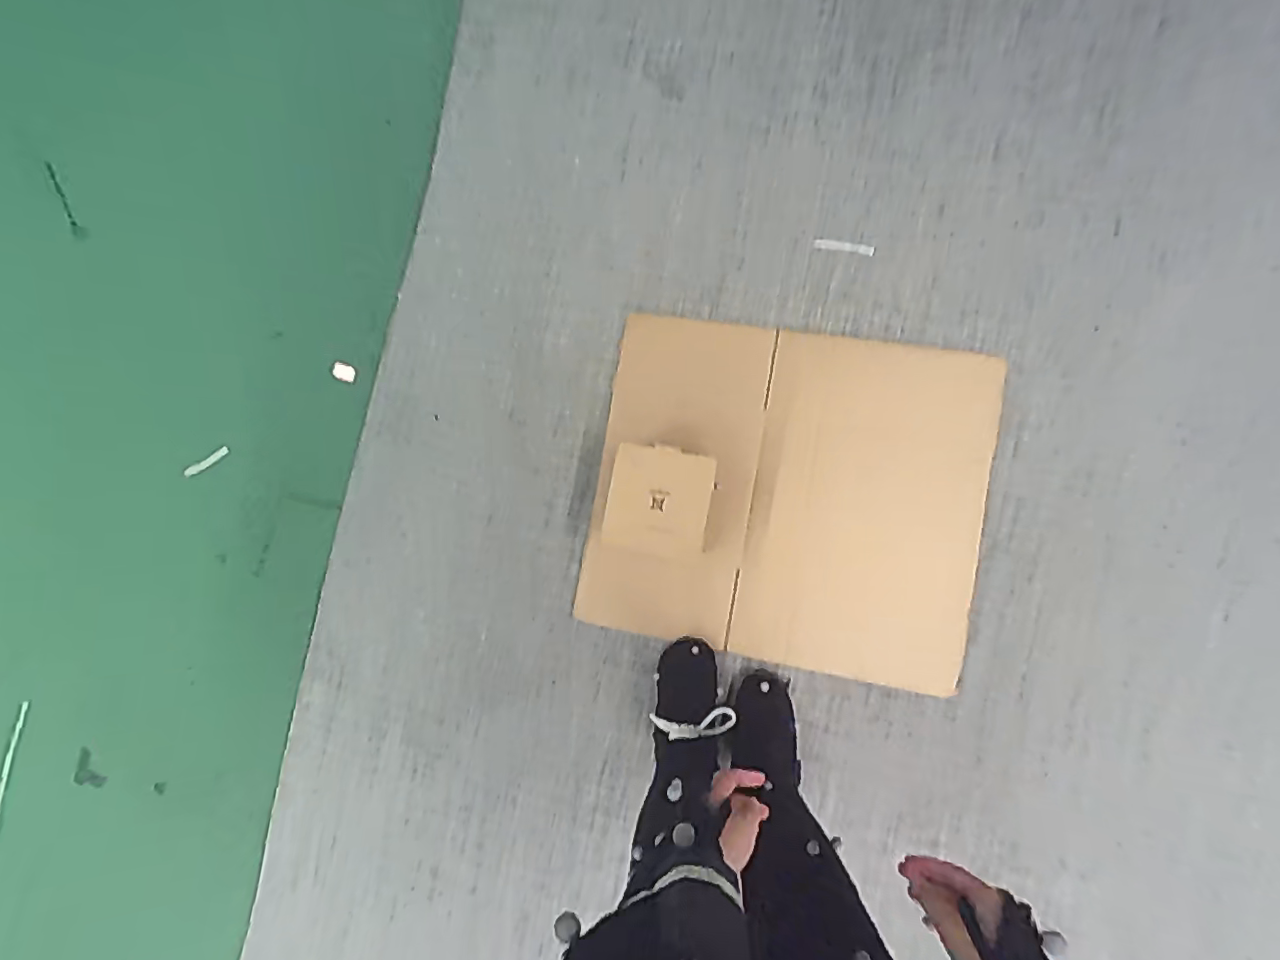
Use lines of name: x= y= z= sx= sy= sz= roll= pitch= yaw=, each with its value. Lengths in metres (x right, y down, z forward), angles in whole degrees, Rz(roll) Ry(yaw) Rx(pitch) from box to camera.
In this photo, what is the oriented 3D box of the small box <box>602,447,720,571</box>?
small box: x=0.043 y=0.049 z=0.944 sx=0.168 sy=0.176 sz=0.179 roll=10 pitch=89 yaw=9
